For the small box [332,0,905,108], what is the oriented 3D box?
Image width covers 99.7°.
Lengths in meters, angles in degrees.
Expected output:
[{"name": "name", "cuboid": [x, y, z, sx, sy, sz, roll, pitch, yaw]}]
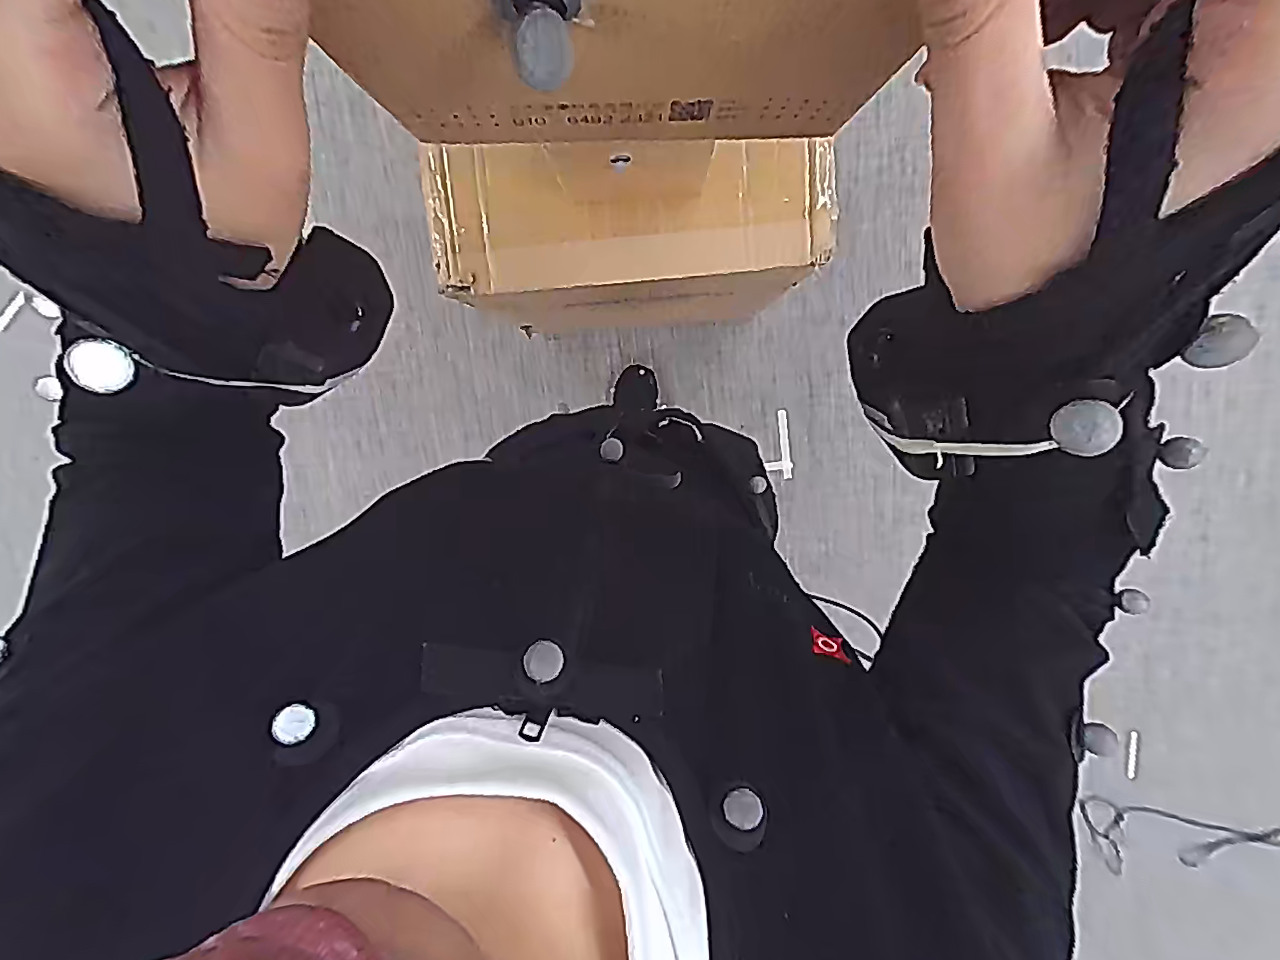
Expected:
[{"name": "small box", "cuboid": [-0.005, -0.203, 0.111, 0.168, 0.176, 0.179, -2, 103, -1]}]

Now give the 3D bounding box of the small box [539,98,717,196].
[{"name": "small box", "cuboid": [-0.011, -0.429, 0.595, 0.179, 0.176, 0.168, -3, 100, 2]}]
